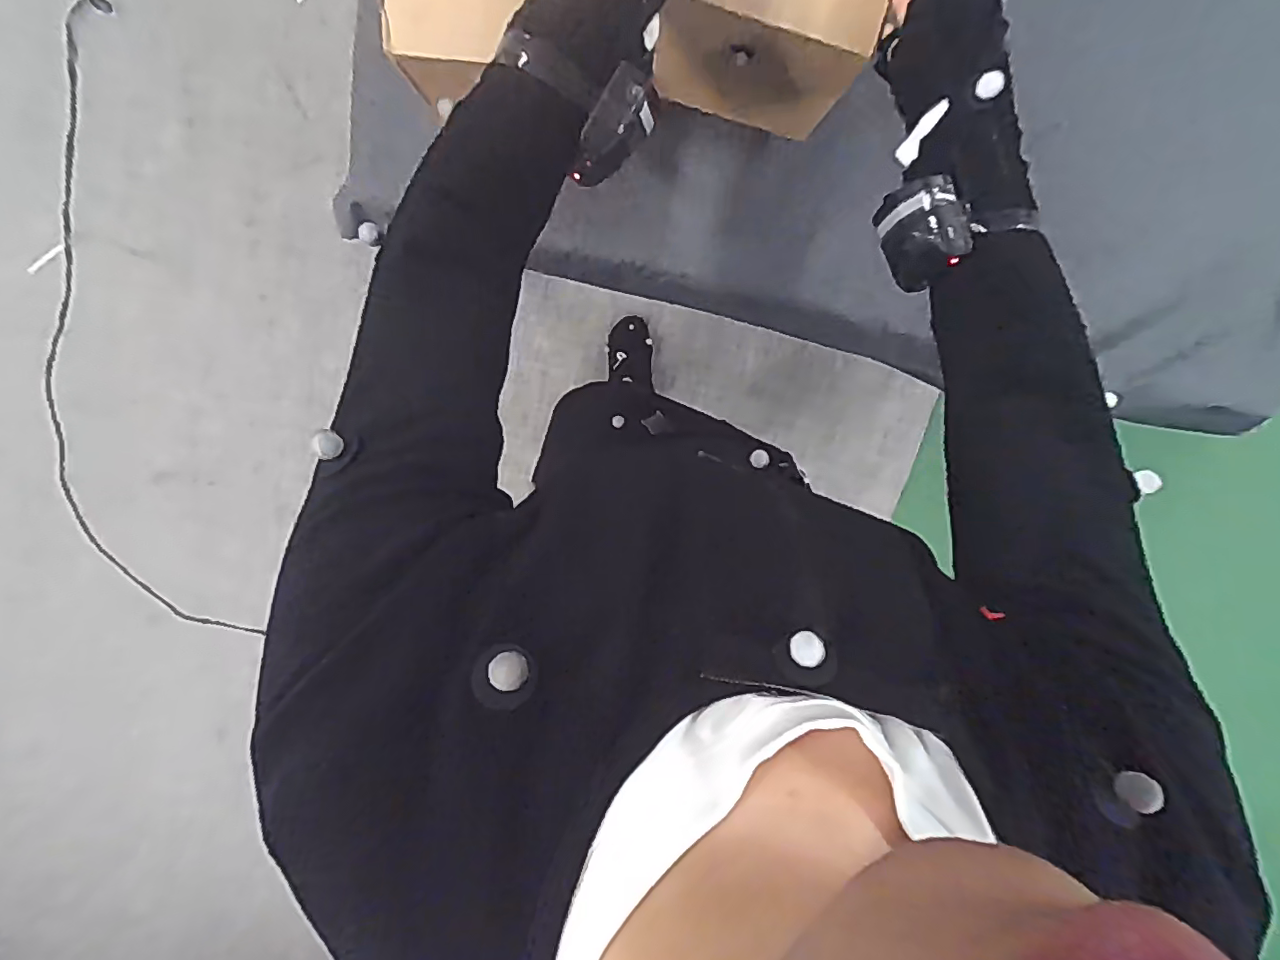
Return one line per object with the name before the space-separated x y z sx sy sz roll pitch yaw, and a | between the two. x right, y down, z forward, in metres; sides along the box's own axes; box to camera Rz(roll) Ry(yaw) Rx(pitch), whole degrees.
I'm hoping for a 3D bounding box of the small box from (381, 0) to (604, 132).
small box | -0.126 -0.455 0.514 0.179 0.176 0.168 3 105 -4
